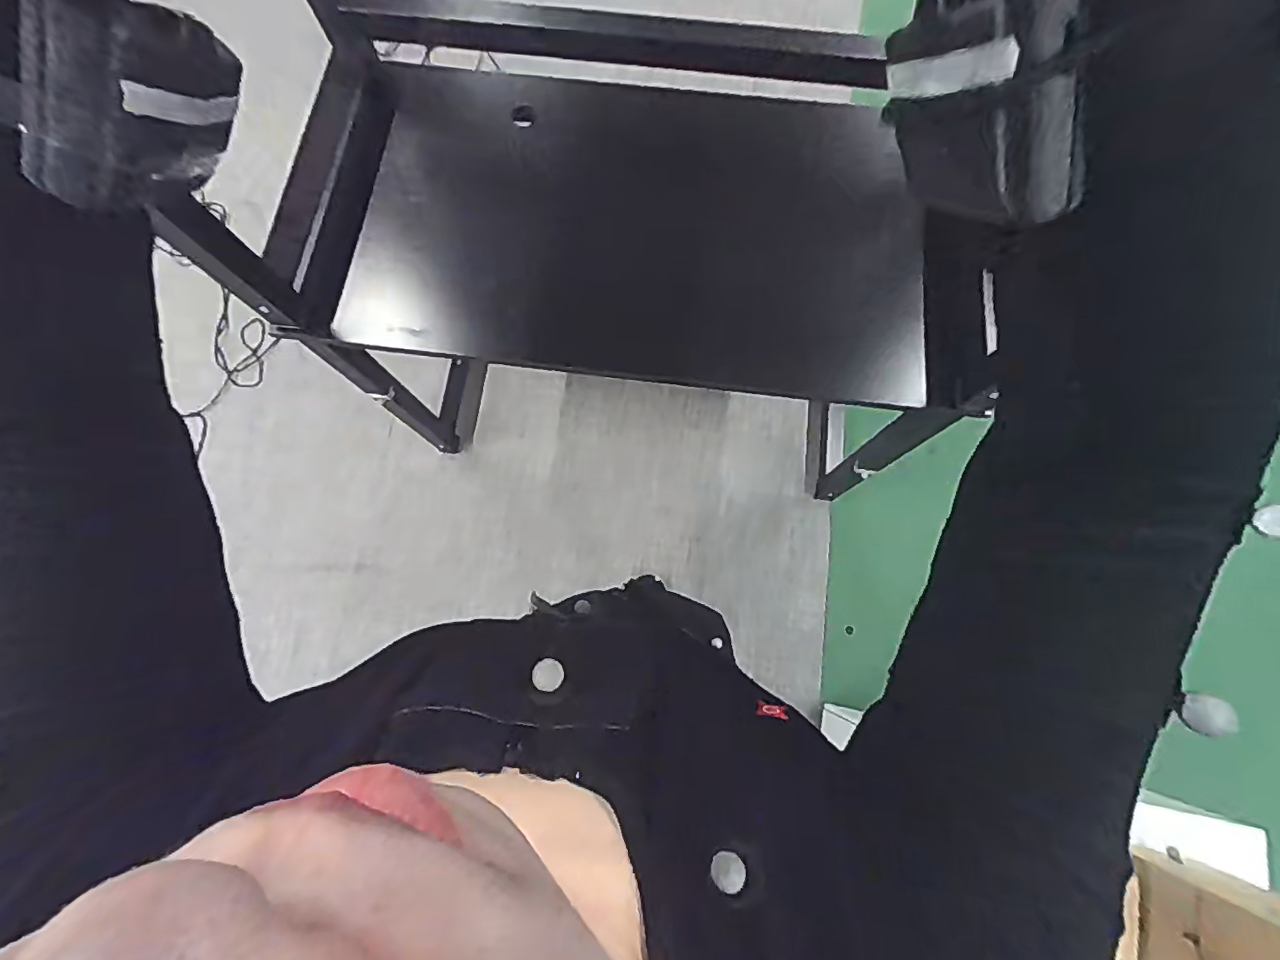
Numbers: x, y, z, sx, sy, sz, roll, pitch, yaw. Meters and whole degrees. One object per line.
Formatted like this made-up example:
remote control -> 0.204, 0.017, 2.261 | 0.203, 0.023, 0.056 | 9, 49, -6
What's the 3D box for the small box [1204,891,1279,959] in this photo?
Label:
small box -> 0.752, 0.583, 0.568 | 0.168, 0.176, 0.179 | 15, 78, 4
